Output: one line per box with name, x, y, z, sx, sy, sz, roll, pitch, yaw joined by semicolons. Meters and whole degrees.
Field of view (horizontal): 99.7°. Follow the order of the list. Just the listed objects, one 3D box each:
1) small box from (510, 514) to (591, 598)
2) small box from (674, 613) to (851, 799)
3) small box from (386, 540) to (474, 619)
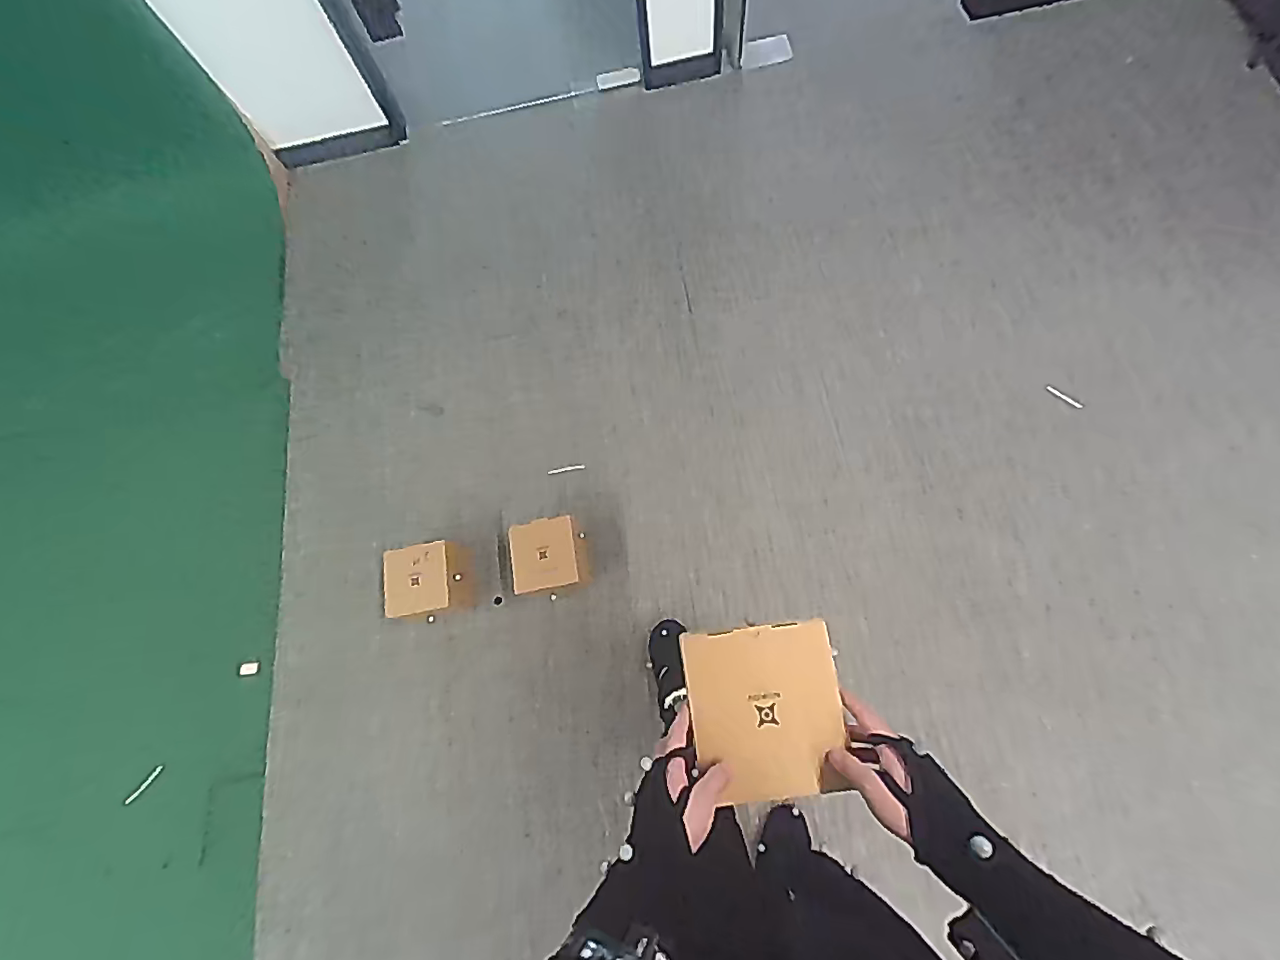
small box;-0.232;0.205;1.428;0.168;0.176;0.179;-11;72;3
small box;0.136;0.261;0.659;0.168;0.176;0.179;-8;73;3
small box;-0.553;0.270;1.442;0.168;0.176;0.179;-11;71;2
